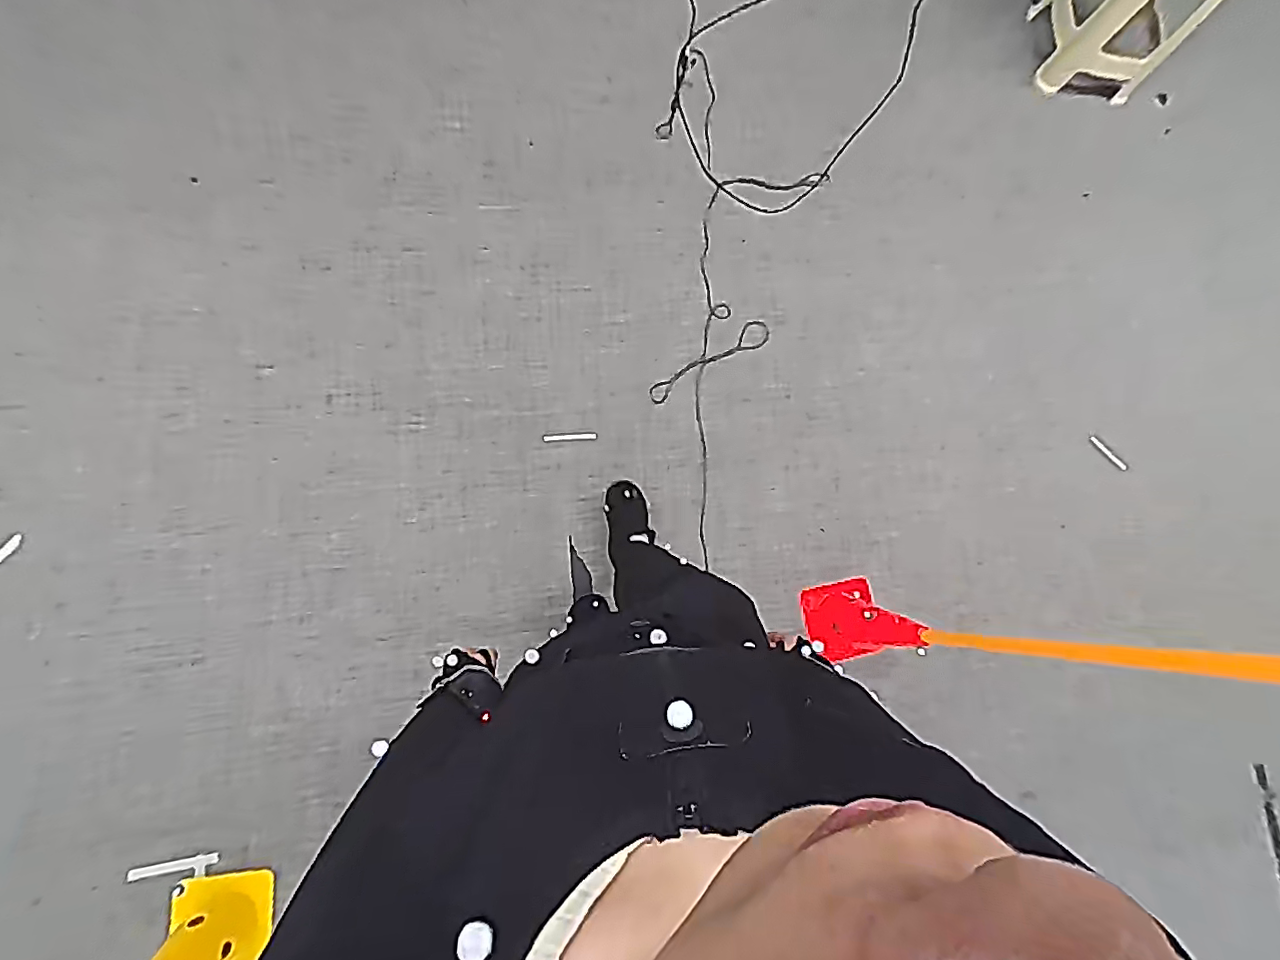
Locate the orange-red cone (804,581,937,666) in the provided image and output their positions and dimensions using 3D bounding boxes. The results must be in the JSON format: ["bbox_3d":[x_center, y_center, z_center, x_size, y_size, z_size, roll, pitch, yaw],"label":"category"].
[{"bbox_3d":[0.555,0.343,1.250,0.199,0.360,0.198,-9,81,-8],"label":"orange-red cone"}]
